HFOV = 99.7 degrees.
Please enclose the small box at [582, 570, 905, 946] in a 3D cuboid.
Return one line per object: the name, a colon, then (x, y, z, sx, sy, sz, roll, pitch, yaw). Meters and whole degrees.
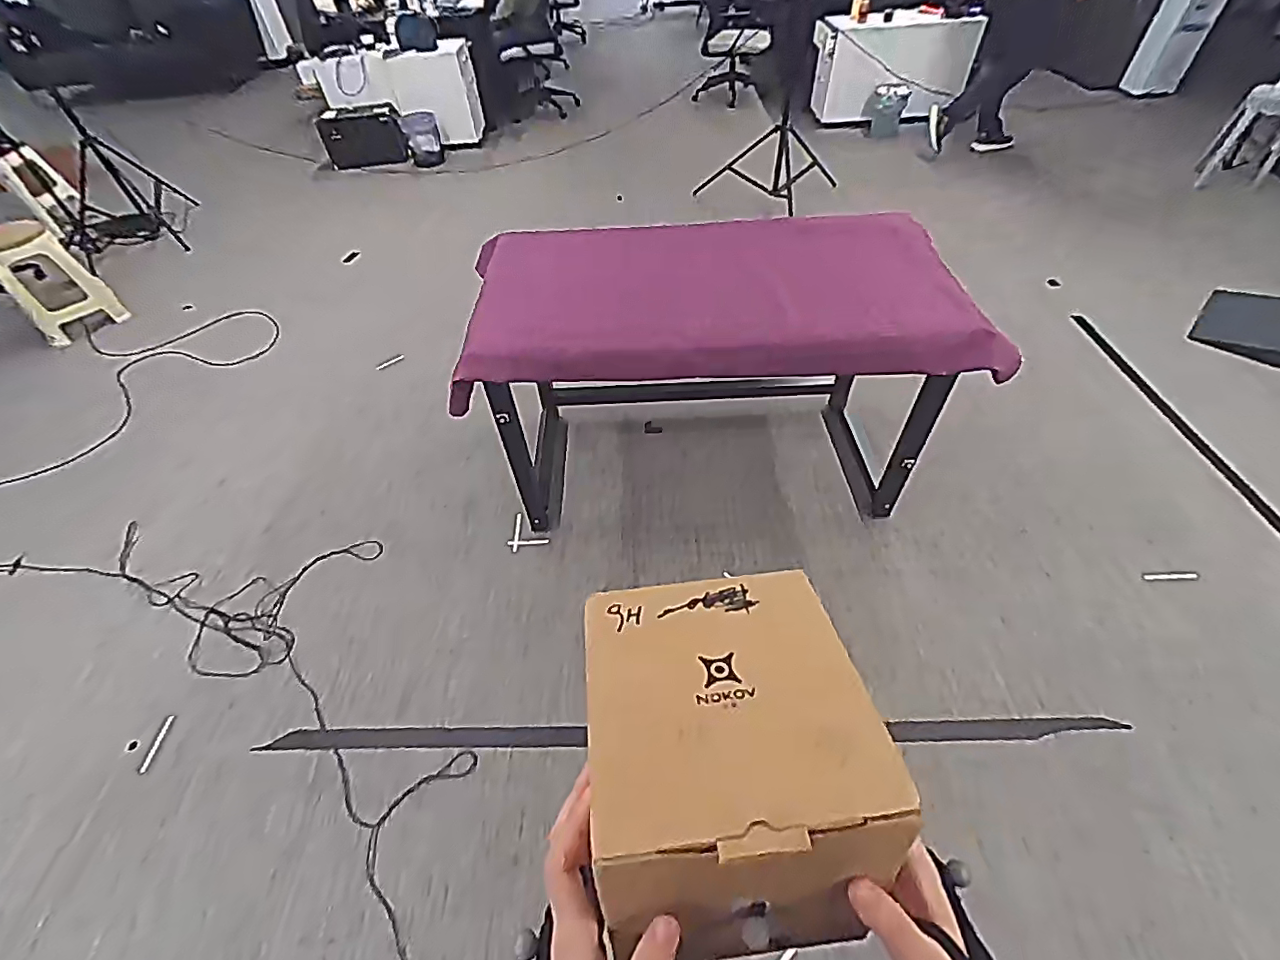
small box: (0.051, 0.191, 0.378, 0.168, 0.176, 0.179, -6, 35, -3)
